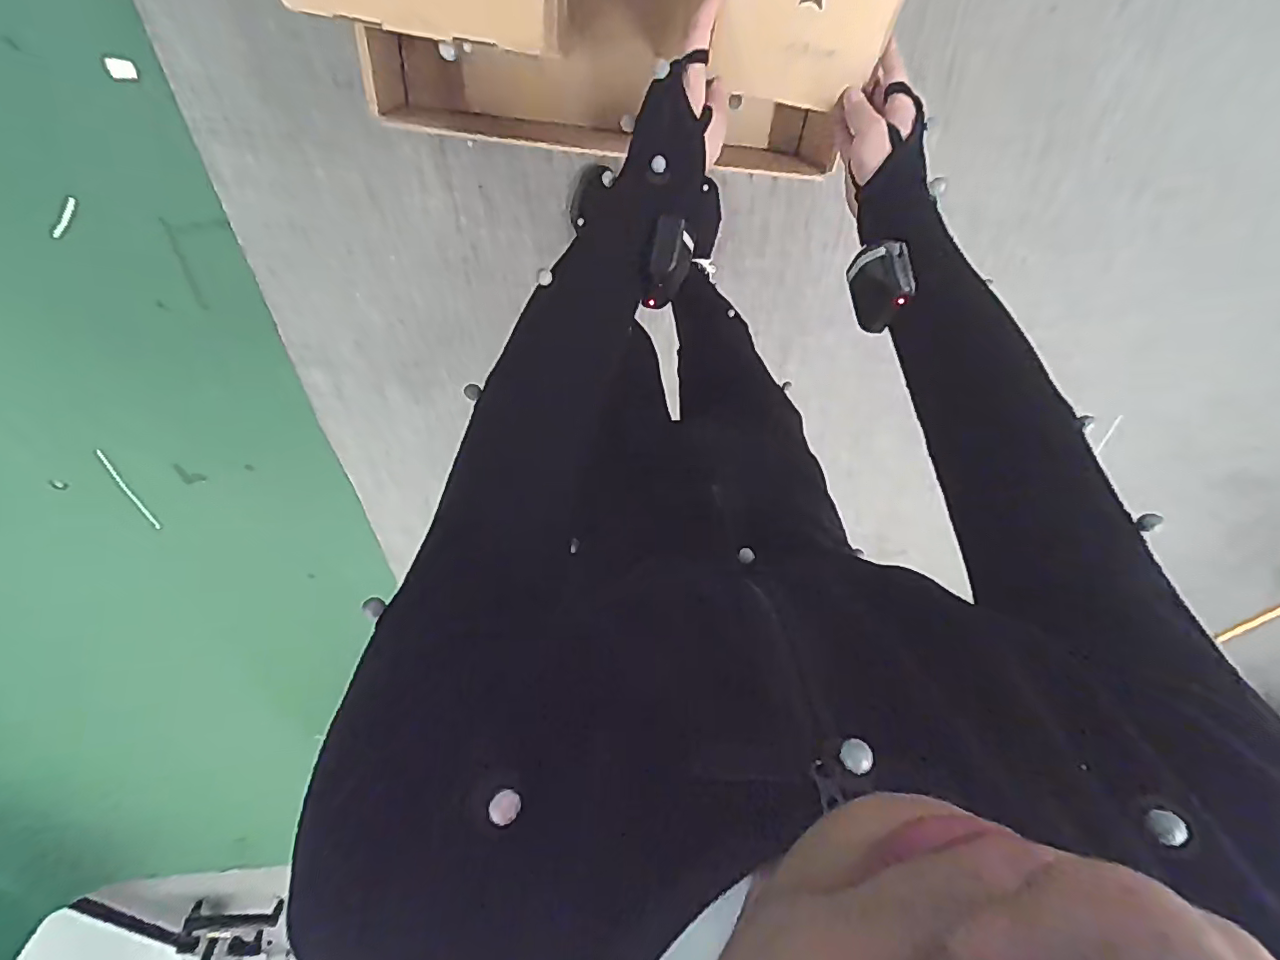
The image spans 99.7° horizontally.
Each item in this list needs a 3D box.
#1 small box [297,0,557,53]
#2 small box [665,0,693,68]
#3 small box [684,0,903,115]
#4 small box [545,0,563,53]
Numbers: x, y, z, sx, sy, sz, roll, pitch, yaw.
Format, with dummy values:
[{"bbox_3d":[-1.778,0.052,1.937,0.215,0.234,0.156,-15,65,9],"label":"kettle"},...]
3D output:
[{"bbox_3d":[-0.137,-0.413,0.362,0.168,0.176,0.179,5,129,-9],"label":"small box"},{"bbox_3d":[0.128,-0.602,0.656,0.168,0.176,0.179,4,129,-9],"label":"small box"},{"bbox_3d":[0.146,-0.483,0.529,0.168,0.176,0.179,5,129,-9],"label":"small box"},{"bbox_3d":[-0.150,-0.515,0.492,0.168,0.176,0.179,3,130,-9],"label":"small box"}]
